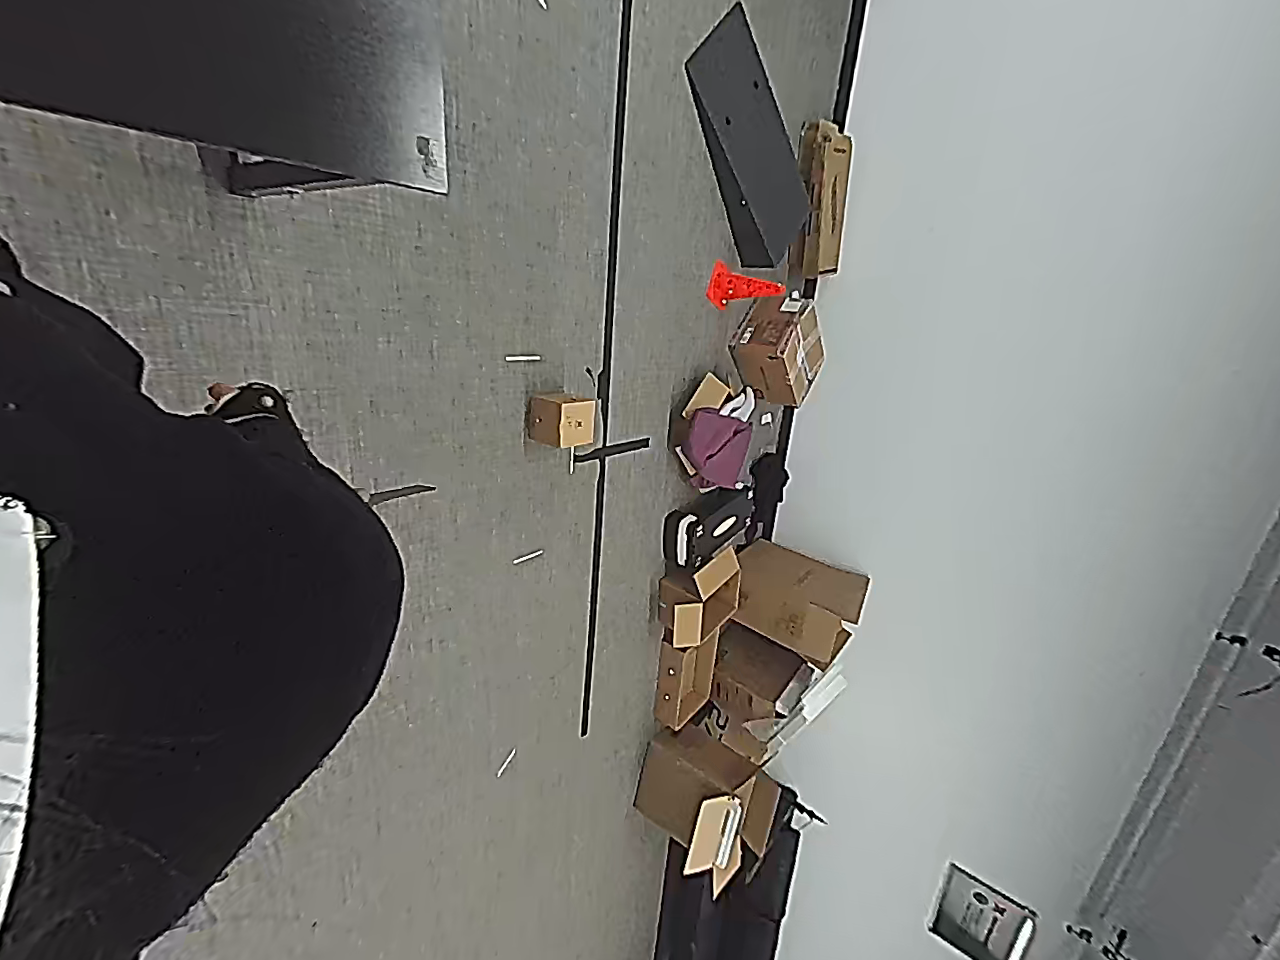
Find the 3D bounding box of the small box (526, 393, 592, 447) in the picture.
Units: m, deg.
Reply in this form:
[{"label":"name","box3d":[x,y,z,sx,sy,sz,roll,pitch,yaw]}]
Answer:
[{"label":"small box","box3d":[-0.303,-0.230,2.020,0.179,0.176,0.168,-16,118,-50]}]
